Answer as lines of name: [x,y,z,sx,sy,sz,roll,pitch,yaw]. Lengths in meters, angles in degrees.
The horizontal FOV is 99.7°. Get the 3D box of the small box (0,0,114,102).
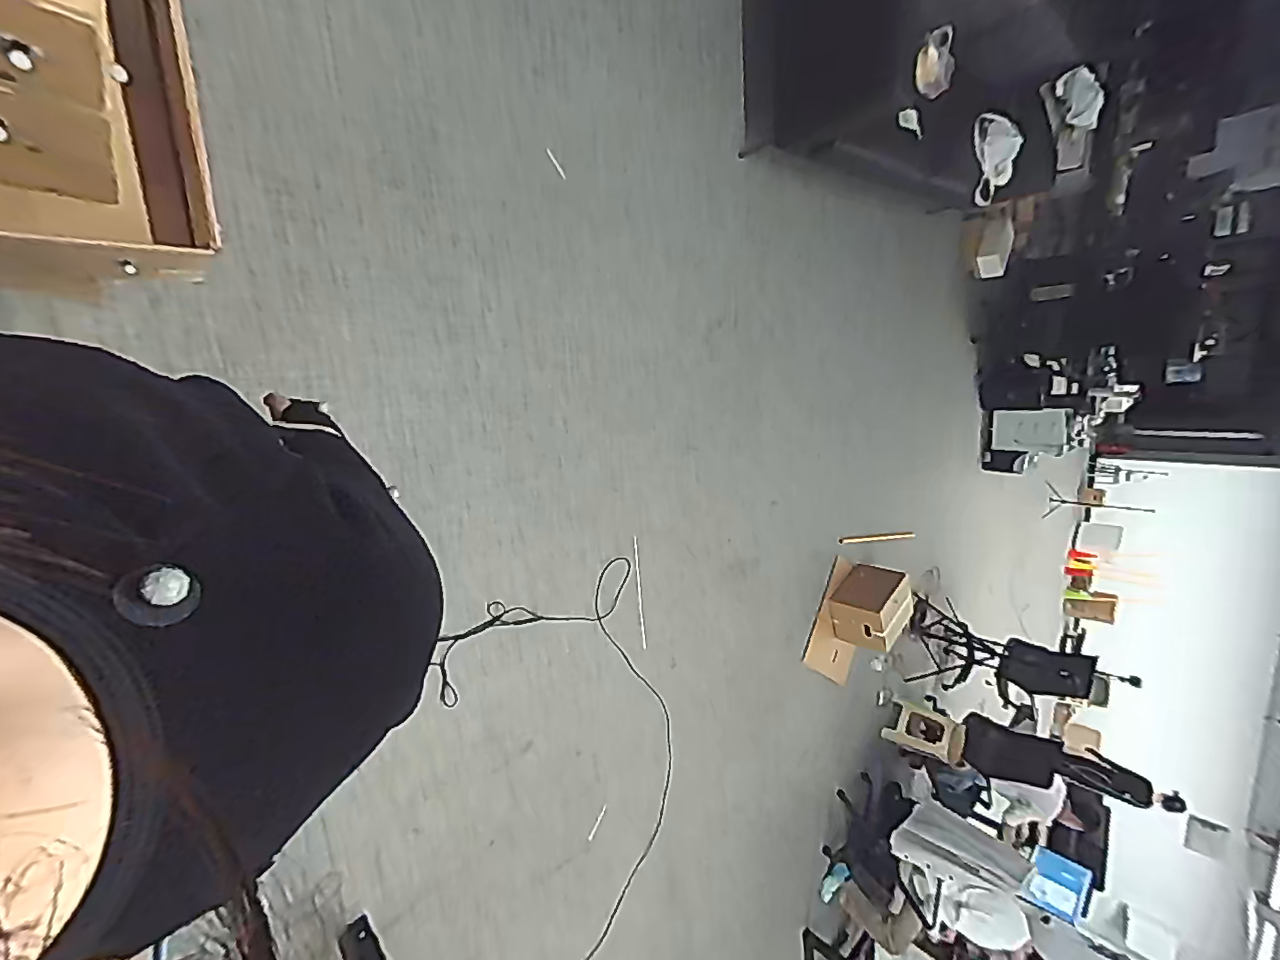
small box: [-0.489,-0.414,0.379,0.168,0.176,0.179,-2,97,-43]

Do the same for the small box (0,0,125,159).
small box: [-0.598,-0.432,0.501,0.168,0.176,0.179,-5,101,-42]
